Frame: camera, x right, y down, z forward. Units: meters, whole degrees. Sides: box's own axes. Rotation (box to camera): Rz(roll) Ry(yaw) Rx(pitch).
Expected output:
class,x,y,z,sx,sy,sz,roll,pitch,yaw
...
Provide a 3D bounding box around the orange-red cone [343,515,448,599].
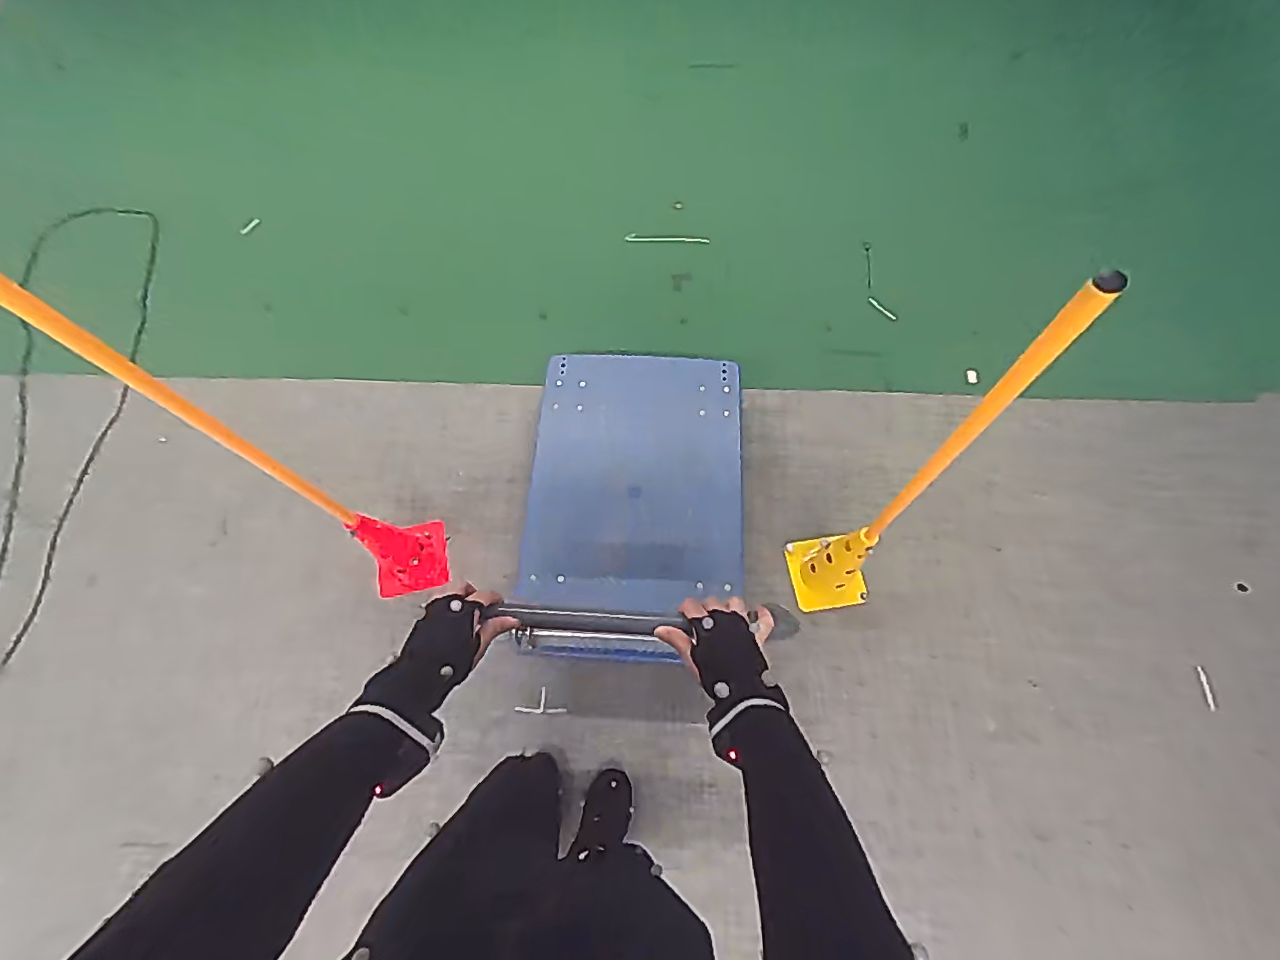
class,x,y,z,sx,sy,sz,roll,pitch,yaw
orange-red cone,-0.664,0.168,1.410,0.199,0.360,0.198,-12,67,-2
